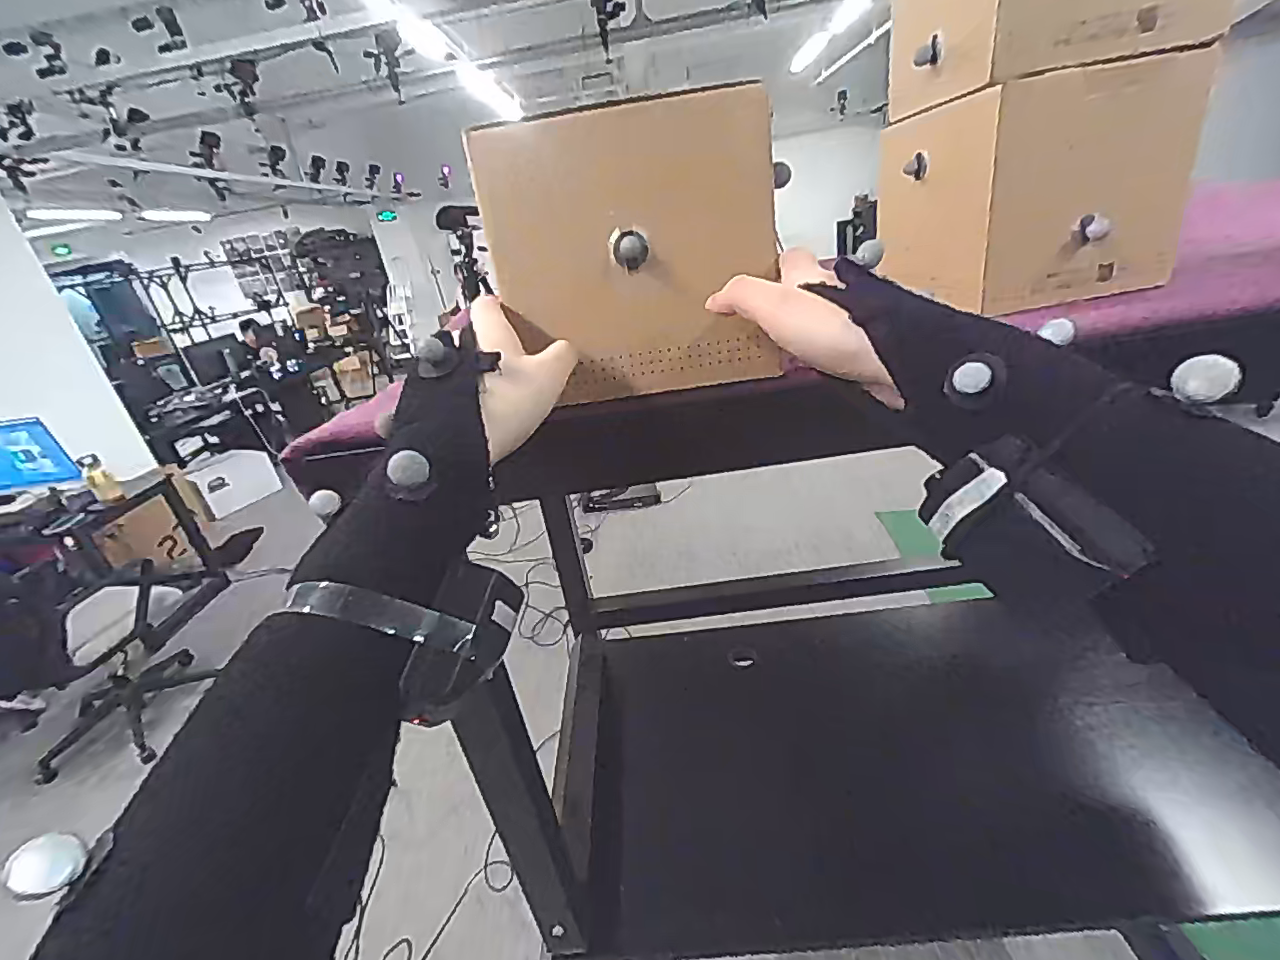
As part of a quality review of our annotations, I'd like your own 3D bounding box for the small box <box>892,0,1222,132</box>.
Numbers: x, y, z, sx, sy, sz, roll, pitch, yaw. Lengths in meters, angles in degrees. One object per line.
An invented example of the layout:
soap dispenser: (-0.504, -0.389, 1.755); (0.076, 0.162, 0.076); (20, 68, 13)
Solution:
small box: (0.321, -0.399, 0.431); (0.168, 0.176, 0.179); (-8, 25, 2)
